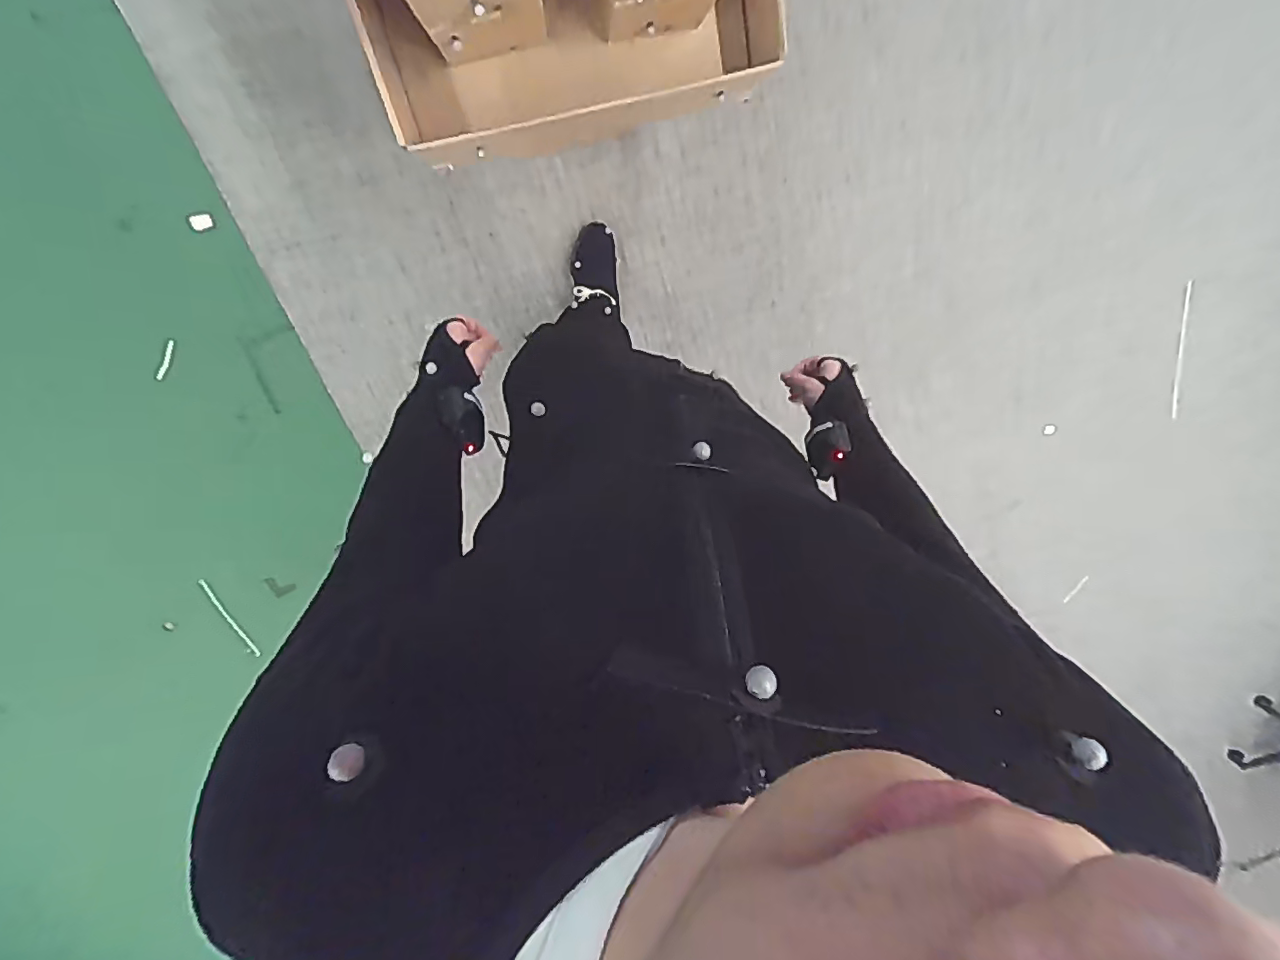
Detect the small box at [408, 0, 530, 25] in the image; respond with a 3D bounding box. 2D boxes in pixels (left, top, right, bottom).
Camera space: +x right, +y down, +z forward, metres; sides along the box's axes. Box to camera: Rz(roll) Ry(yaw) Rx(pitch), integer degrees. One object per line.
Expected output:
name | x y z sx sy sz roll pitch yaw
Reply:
small box | -0.228 -0.679 0.626 0.168 0.176 0.179 -14 115 -1
